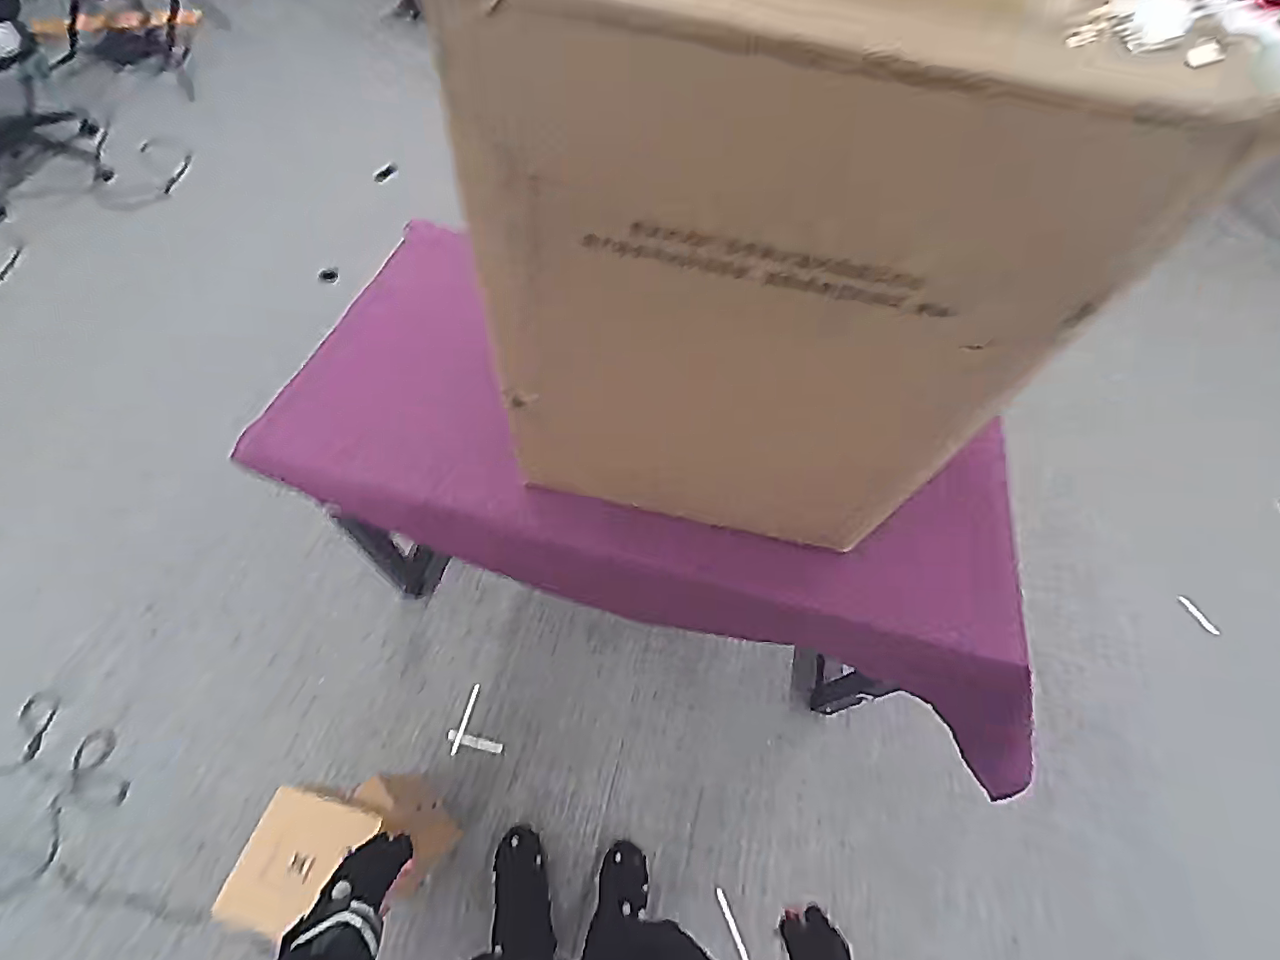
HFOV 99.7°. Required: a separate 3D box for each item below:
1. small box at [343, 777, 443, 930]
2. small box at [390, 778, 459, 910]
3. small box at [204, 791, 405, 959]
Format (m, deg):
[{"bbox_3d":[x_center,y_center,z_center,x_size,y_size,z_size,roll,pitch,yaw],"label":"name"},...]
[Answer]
[{"bbox_3d":[-0.488,0.677,0.979,0.168,0.176,0.179,-38,69,-24],"label":"small box"},{"bbox_3d":[-0.505,0.757,1.121,0.179,0.176,0.168,42,64,17],"label":"small box"},{"bbox_3d":[-0.495,0.598,0.835,0.179,0.176,0.168,16,58,4],"label":"small box"}]
